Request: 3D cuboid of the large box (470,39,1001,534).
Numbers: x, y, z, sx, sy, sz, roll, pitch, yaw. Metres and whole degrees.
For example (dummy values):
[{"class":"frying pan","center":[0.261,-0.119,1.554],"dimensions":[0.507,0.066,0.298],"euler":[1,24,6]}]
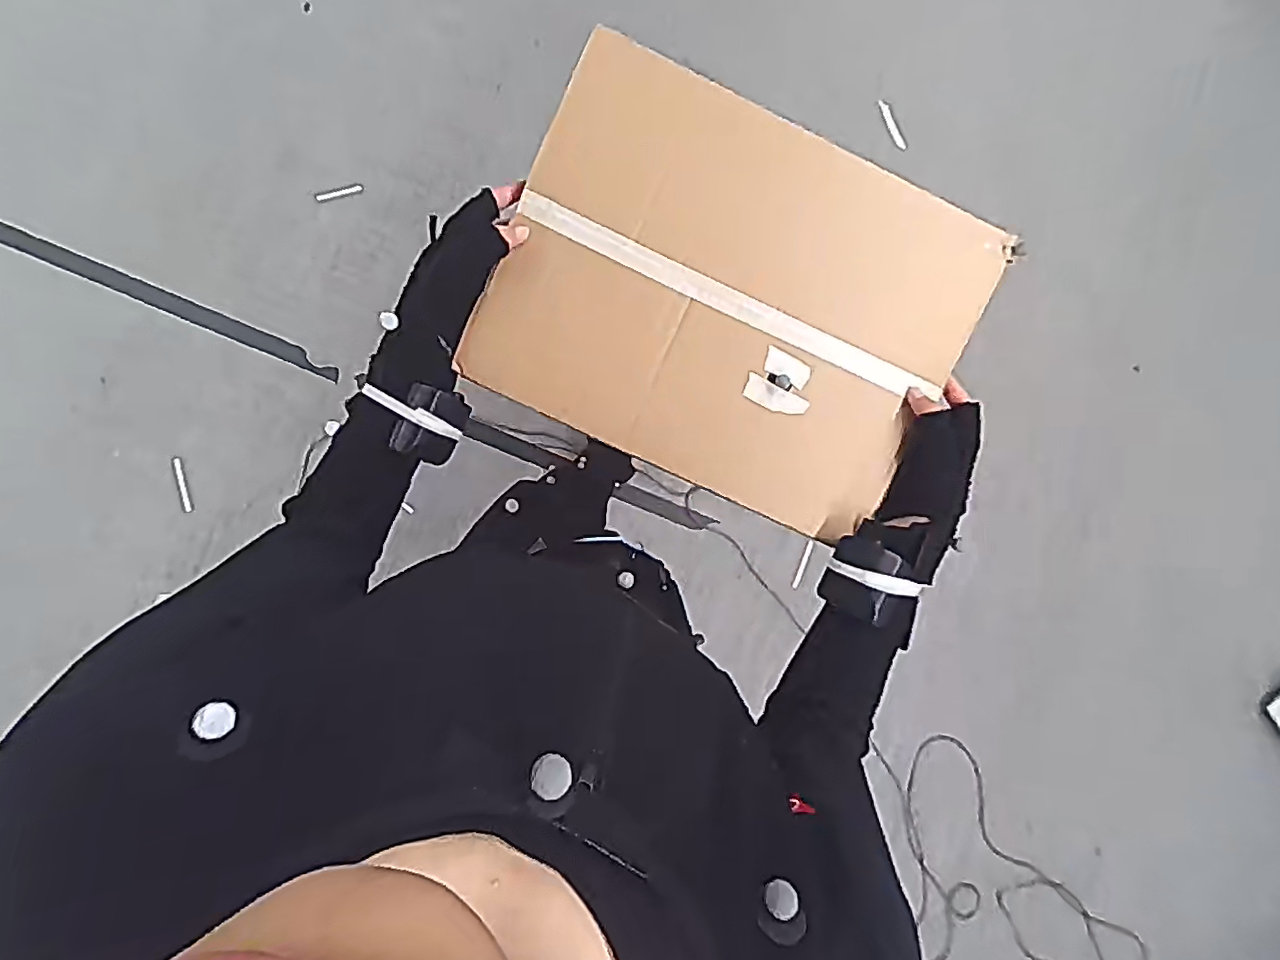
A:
[{"class":"large box","center":[0.080,-0.178,0.634],"dimensions":[0.408,0.320,0.320],"euler":[25,95,-4]}]
